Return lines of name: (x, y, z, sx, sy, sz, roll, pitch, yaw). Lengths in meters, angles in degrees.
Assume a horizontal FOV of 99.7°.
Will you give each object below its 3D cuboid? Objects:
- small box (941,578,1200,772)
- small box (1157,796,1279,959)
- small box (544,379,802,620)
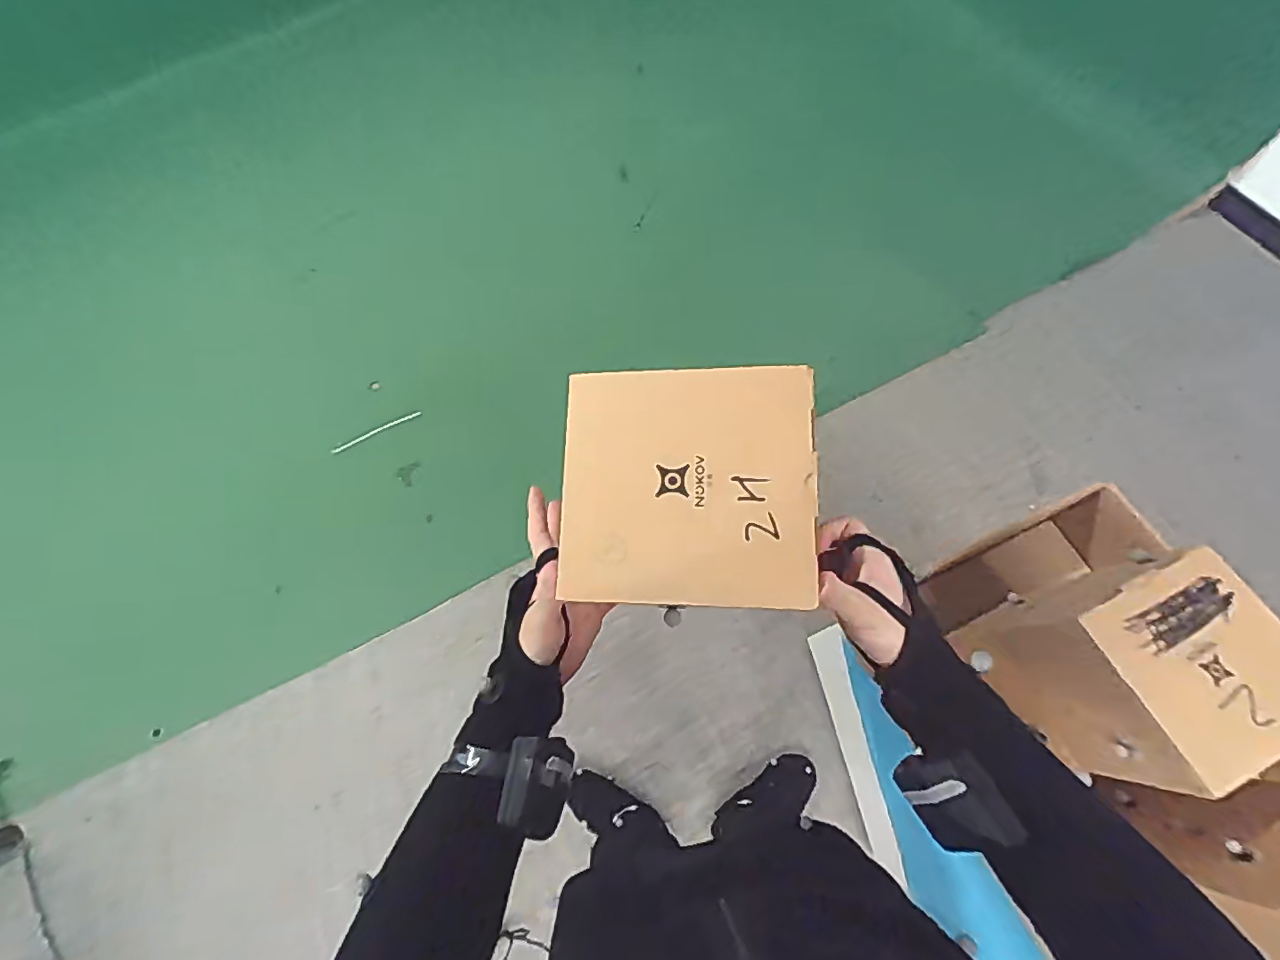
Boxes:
small box: (0.551, 0.258, 0.726, 0.168, 0.176, 0.179, -26, 70, -5)
small box: (0.640, 0.407, 0.477, 0.168, 0.176, 0.179, -30, 68, -6)
small box: (0.036, 0.026, 0.450, 0.179, 0.176, 0.168, -1, 79, 10)
